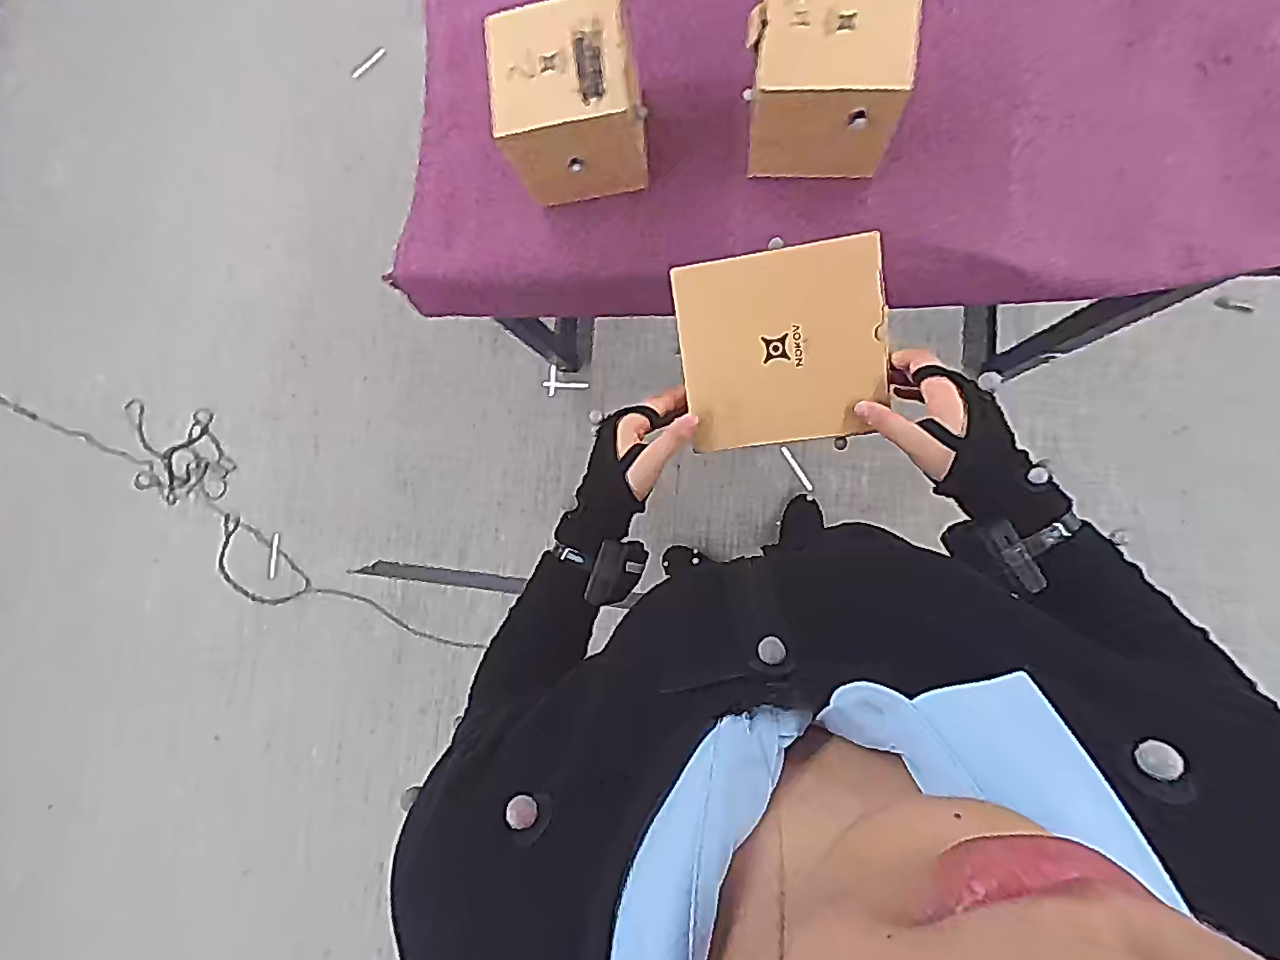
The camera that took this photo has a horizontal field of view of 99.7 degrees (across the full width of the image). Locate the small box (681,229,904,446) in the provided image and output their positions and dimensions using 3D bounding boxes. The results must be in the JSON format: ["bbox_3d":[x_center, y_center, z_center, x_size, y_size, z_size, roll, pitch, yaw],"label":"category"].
[{"bbox_3d":[0.143,-0.128,0.542,0.179,0.176,0.168,-6,98,9],"label":"small box"}]

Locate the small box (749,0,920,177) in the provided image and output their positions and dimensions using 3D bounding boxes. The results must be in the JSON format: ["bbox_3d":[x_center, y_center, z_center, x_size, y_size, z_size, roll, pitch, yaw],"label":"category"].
[{"bbox_3d":[0.240,-0.520,0.701,0.179,0.176,0.168,6,87,10],"label":"small box"}]
